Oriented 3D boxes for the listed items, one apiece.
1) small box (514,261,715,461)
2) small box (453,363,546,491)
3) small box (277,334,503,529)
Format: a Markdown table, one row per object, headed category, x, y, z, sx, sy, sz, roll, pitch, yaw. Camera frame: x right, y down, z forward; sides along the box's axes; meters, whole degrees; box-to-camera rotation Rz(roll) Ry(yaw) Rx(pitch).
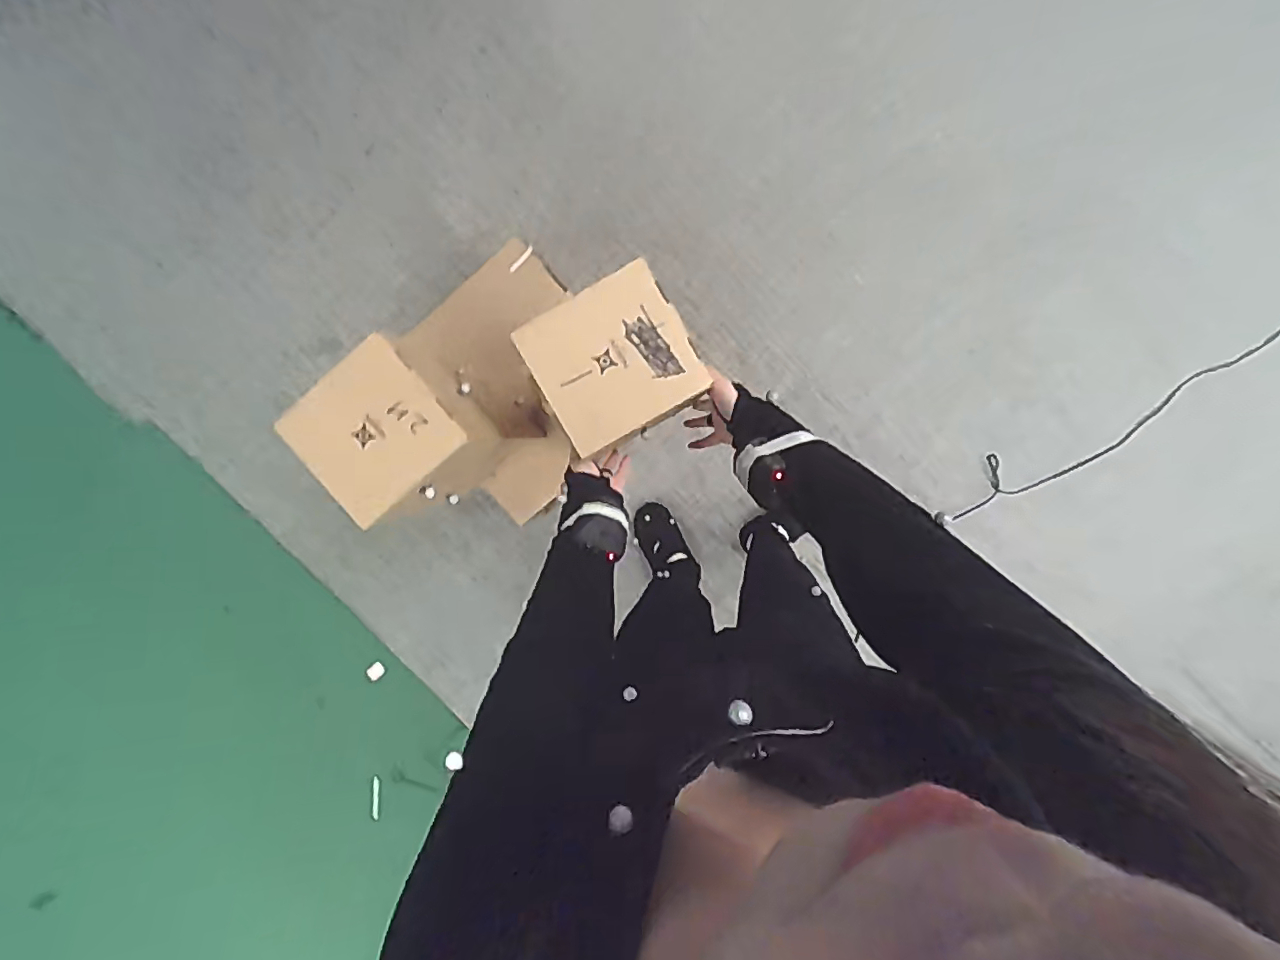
| category | x | y | z | sx | sy | sz | roll | pitch | yaw |
| --- | --- | --- | --- | --- | --- | --- | --- | --- | --- |
| small box | -0.029 | -0.137 | 0.683 | 0.179 | 0.176 | 0.168 | -30 | 91 | 2 |
| small box | -0.309 | -0.097 | 1.045 | 0.168 | 0.176 | 0.179 | -38 | 91 | 5 |
| small box | -0.313 | -0.061 | 0.717 | 0.179 | 0.176 | 0.168 | -40 | 92 | 5 |
